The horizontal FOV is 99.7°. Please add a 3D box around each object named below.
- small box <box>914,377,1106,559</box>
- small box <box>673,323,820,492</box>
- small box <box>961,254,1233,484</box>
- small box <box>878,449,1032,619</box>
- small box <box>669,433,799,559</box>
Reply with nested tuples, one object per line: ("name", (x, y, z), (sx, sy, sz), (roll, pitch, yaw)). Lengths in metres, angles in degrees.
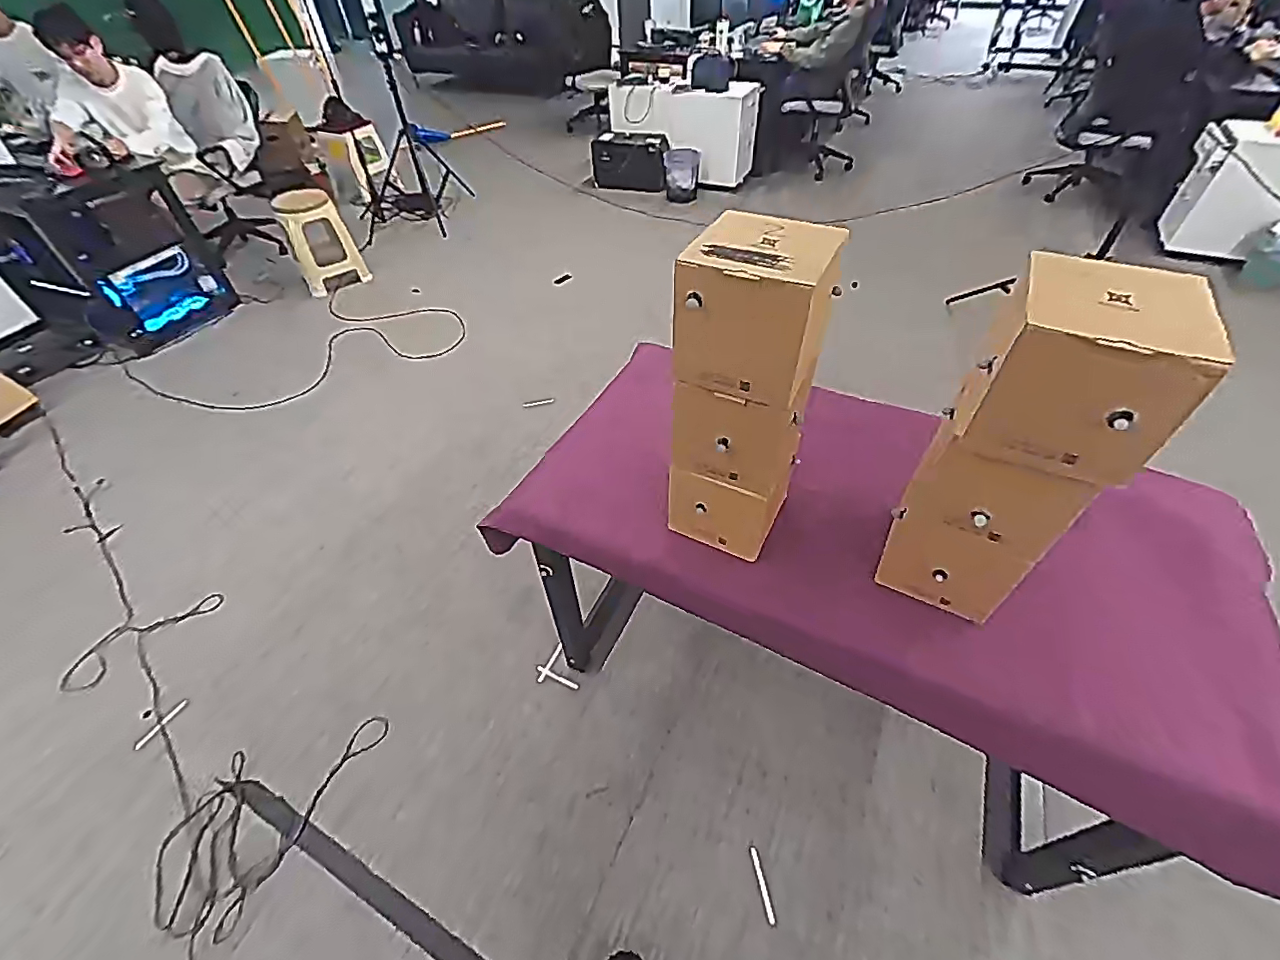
("small box", (0.496, -0.027, 0.737), (0.168, 0.176, 0.179), (21, 52, 21))
("small box", (0.158, -0.110, 0.828), (0.168, 0.176, 0.179), (19, 50, 18))
("small box", (0.484, -0.123, 0.605), (0.168, 0.176, 0.179), (19, 50, 18))
("small box", (0.496, 0.087, 0.855), (0.168, 0.176, 0.179), (22, 51, 21))
("small box", (0.161, 0.008, 0.943), (0.168, 0.176, 0.179), (20, 50, 20))
